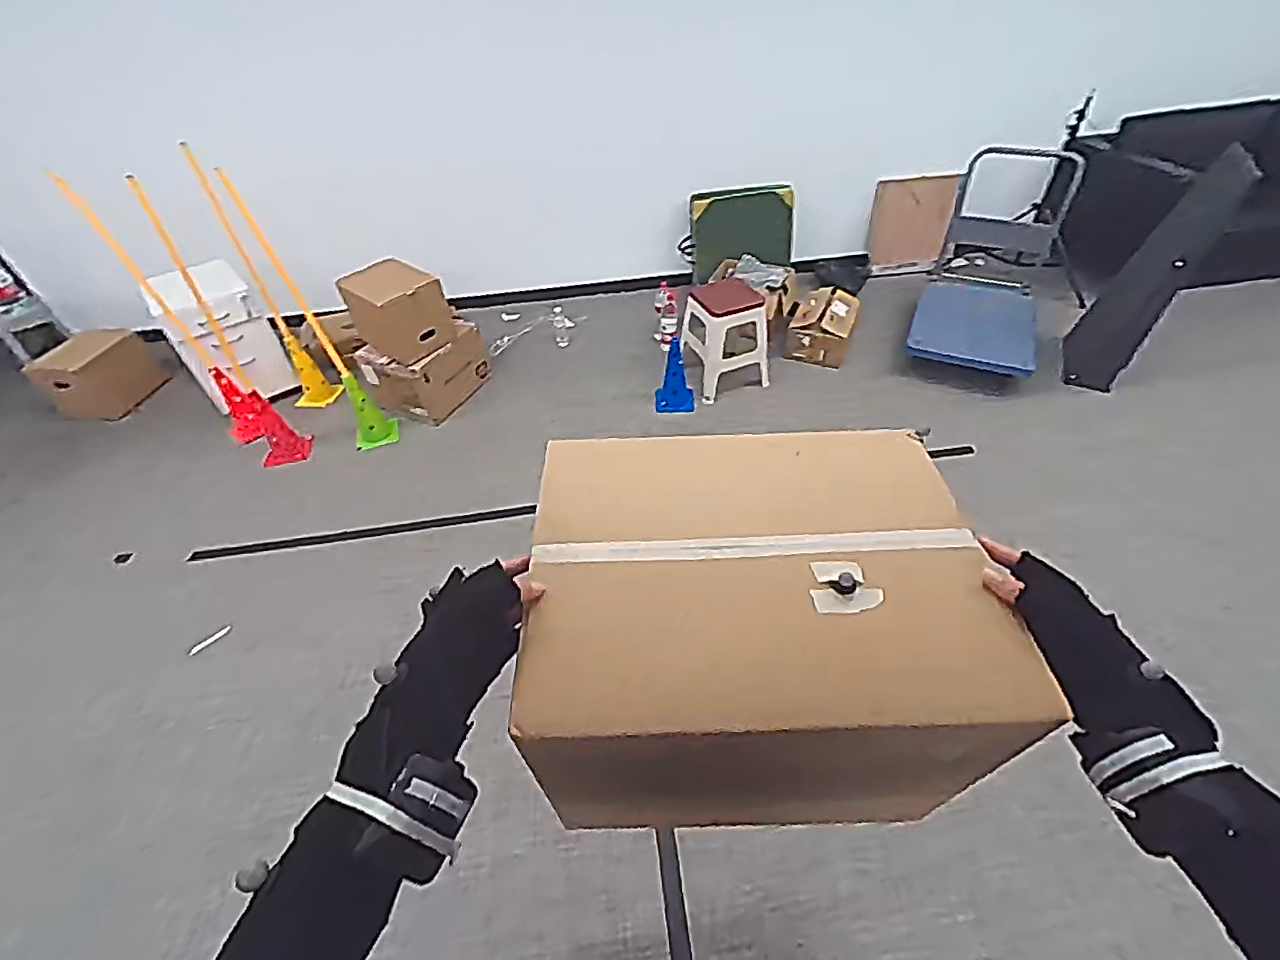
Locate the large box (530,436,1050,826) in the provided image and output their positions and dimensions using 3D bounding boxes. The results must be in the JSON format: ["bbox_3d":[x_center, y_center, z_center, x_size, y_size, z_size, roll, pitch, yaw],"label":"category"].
[{"bbox_3d":[0.110,0.172,0.612,0.408,0.320,0.320,-2,47,0],"label":"large box"}]
